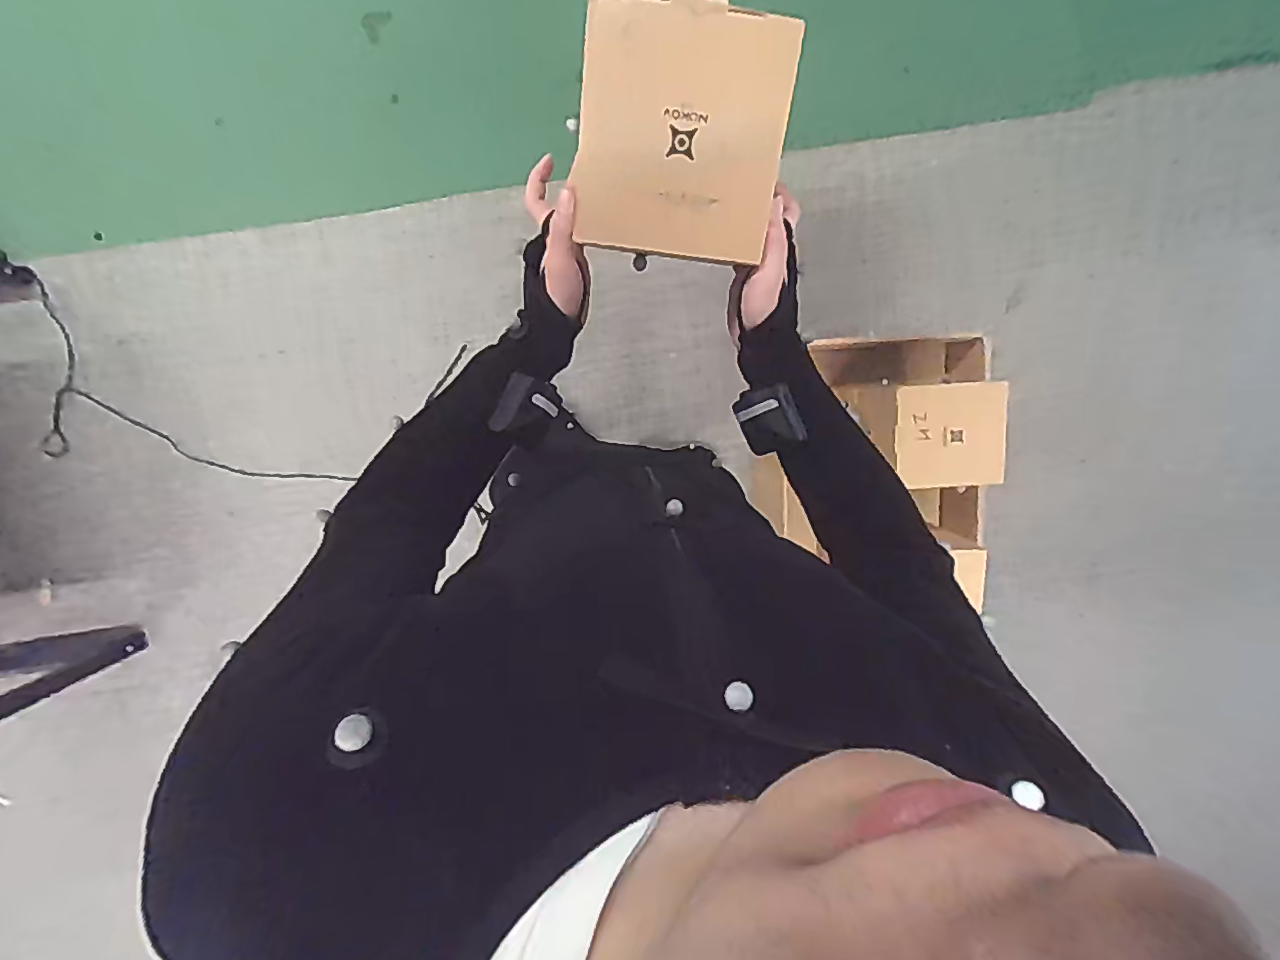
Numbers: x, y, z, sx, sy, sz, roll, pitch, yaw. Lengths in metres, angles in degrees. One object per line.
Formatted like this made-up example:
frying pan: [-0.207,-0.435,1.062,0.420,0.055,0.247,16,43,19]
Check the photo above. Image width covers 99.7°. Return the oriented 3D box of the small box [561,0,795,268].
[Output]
small box: [0.023,-0.298,0.497,0.168,0.176,0.179,6,111,-4]

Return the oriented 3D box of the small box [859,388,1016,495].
small box: [0.494,-0.071,0.920,0.179,0.176,0.168,-3,98,1]
